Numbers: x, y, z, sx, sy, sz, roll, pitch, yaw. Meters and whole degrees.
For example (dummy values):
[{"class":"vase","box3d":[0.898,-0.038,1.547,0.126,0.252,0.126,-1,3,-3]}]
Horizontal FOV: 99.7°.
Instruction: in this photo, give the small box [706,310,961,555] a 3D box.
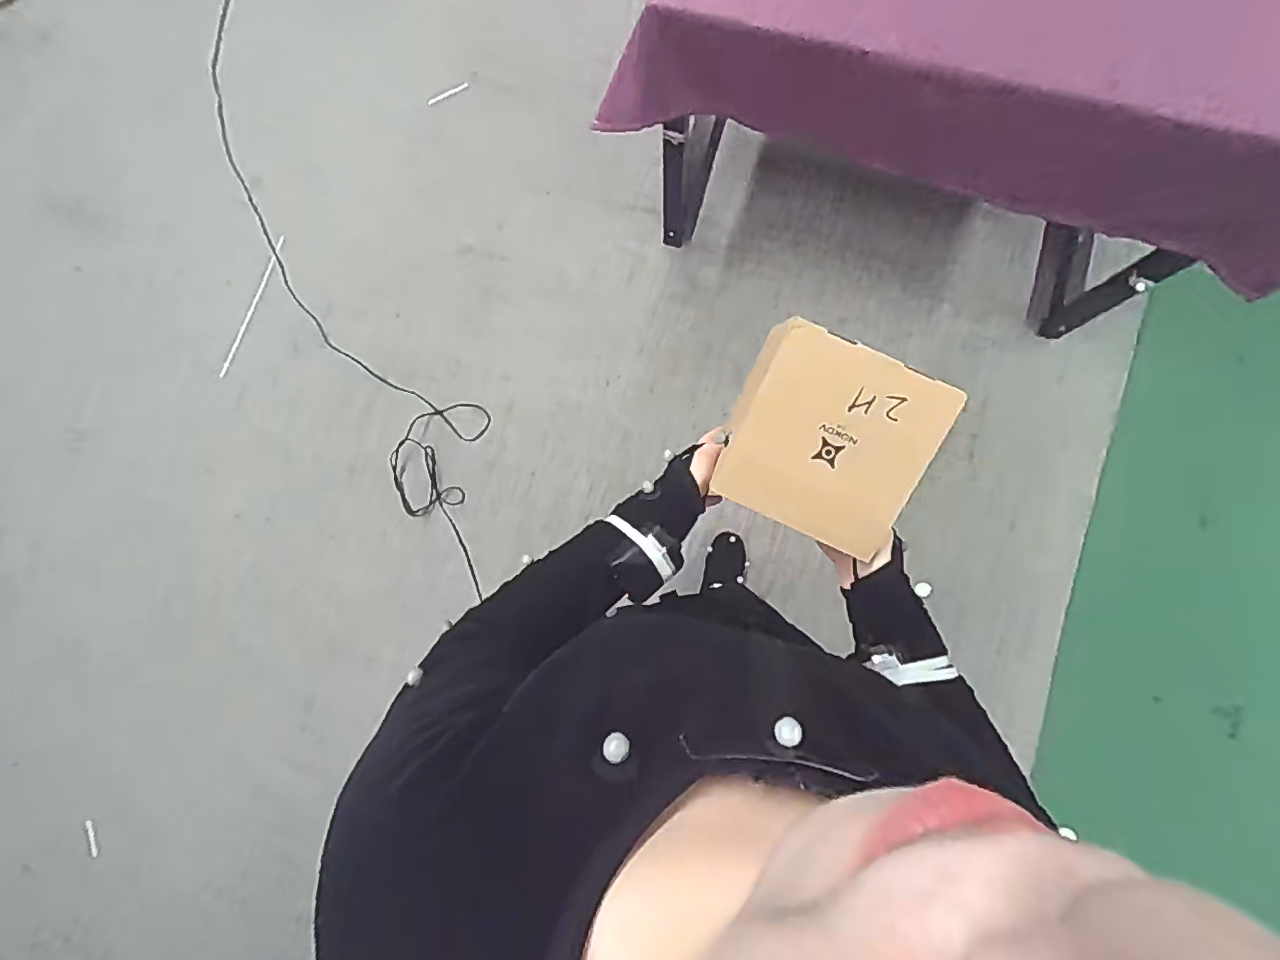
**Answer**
[{"class":"small box","box3d":[0.180,-0.055,0.563,0.168,0.176,0.179,24,103,1]}]
